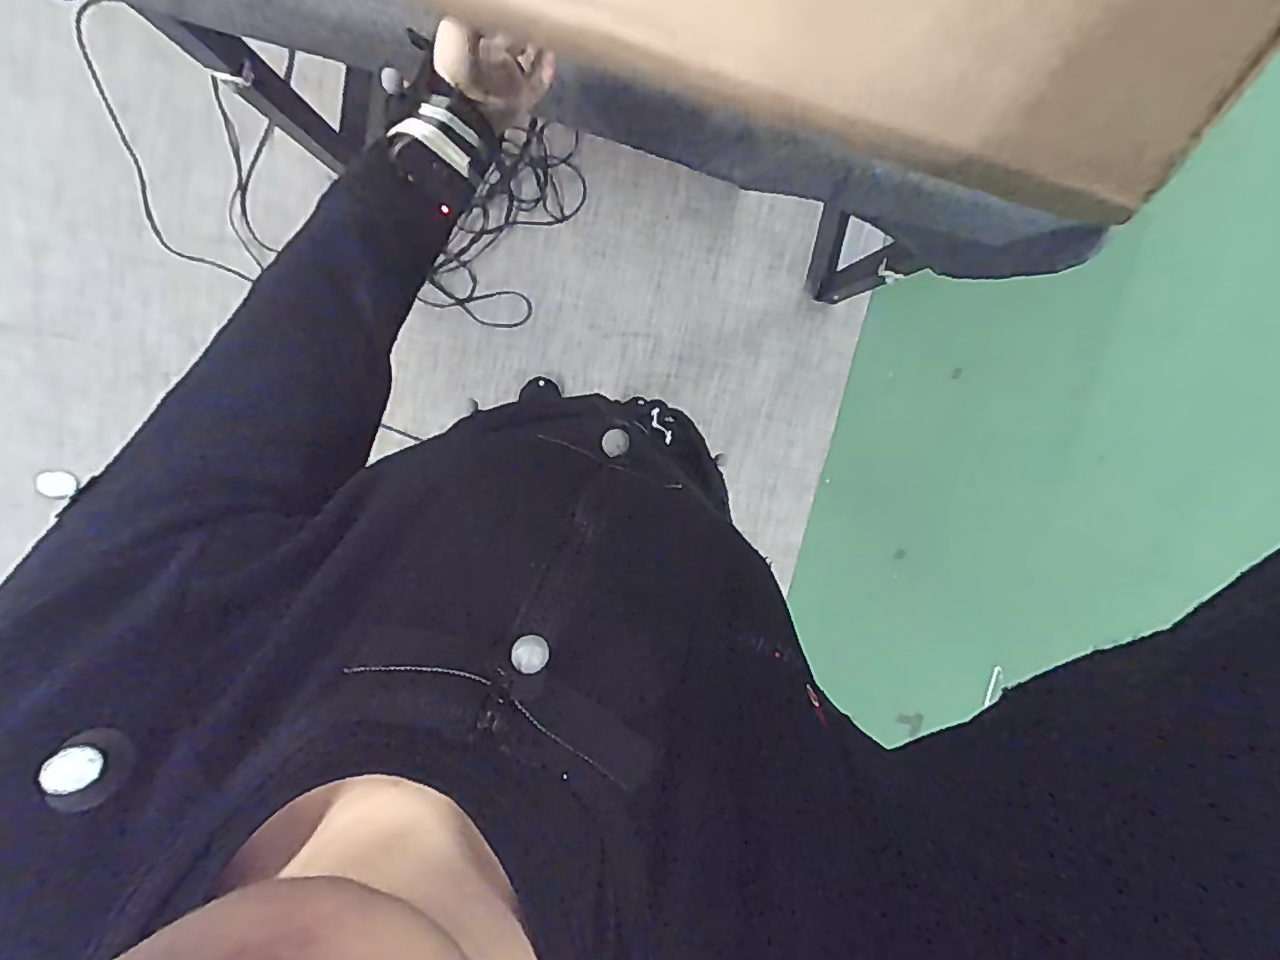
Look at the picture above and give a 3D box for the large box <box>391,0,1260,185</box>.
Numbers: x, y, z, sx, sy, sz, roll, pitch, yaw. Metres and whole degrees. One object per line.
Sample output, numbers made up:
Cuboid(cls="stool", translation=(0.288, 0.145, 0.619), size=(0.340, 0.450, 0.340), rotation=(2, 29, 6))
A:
Cuboid(cls="large box", translation=(0.050, -0.362, 0.203), size=(0.320, 0.408, 0.320), rotation=(13, 131, -5))
